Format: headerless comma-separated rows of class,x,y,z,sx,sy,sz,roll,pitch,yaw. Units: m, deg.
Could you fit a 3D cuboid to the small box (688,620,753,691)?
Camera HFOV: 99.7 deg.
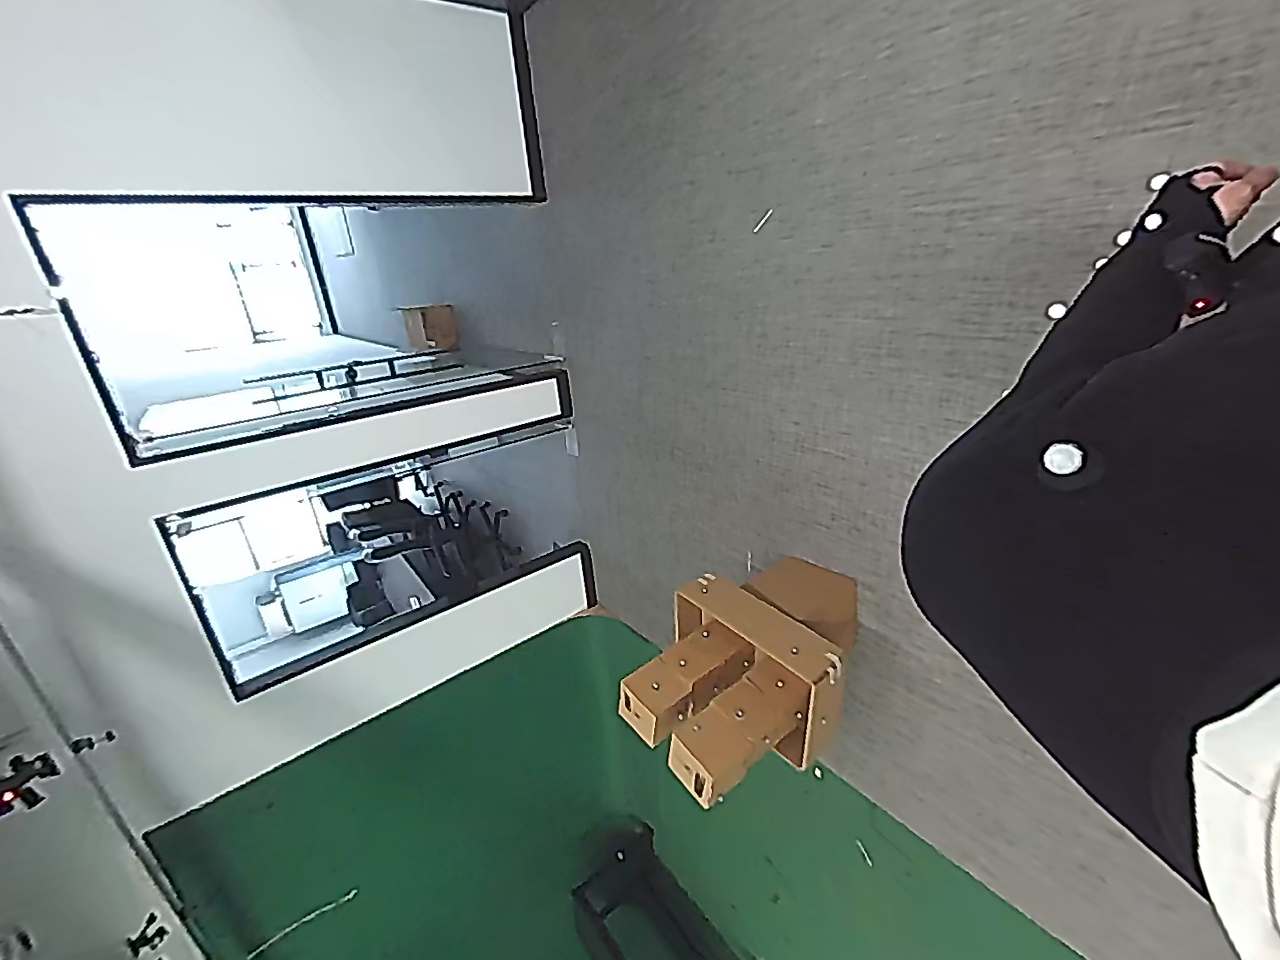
small box,0.295,0.642,1.994,0.179,0.176,0.168,24,126,45

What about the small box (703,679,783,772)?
small box,0.329,0.774,1.724,0.179,0.176,0.168,37,133,40

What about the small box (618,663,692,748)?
small box,0.047,0.741,1.808,0.179,0.176,0.168,31,130,39

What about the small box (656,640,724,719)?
small box,0.174,0.691,1.899,0.179,0.176,0.168,22,123,45
